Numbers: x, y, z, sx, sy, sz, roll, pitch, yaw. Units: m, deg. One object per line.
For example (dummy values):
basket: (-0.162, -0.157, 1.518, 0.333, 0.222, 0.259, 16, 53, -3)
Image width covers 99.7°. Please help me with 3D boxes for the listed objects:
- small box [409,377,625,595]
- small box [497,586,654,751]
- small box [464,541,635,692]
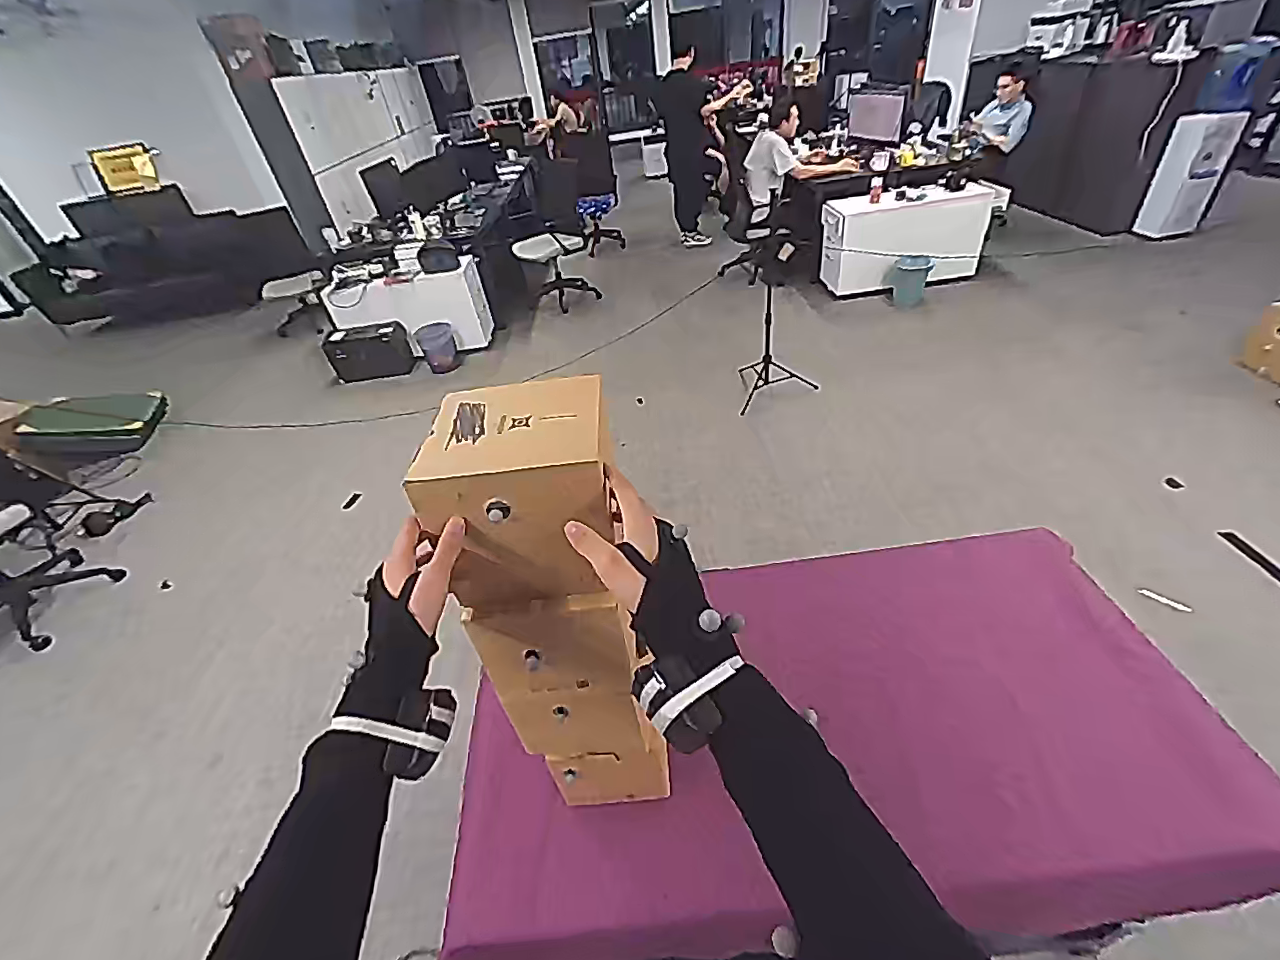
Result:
small box: (-0.114, 0.008, 0.585, 0.179, 0.176, 0.168, -6, 37, 2)
small box: (-0.079, 0.270, 0.777, 0.179, 0.176, 0.168, -2, 39, 8)
small box: (-0.097, 0.146, 0.673, 0.168, 0.176, 0.179, -6, 37, 3)
